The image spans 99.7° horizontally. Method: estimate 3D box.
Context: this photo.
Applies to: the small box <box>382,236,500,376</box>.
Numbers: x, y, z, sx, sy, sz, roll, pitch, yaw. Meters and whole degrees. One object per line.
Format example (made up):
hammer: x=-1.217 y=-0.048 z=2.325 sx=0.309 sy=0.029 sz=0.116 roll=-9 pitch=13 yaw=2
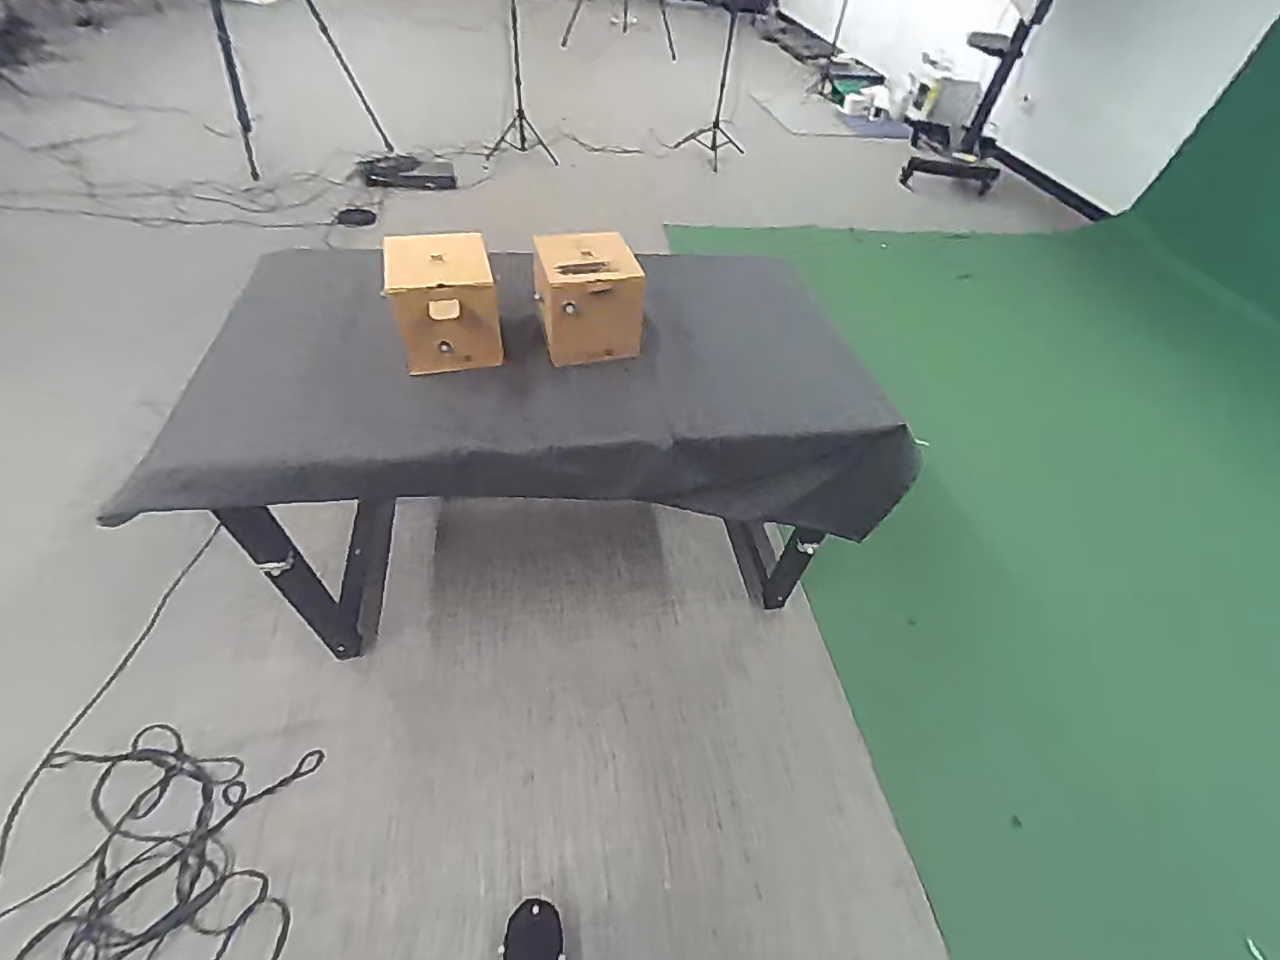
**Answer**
small box: x=-0.349 y=-0.308 z=0.955 sx=0.168 sy=0.176 sz=0.179 roll=-11 pitch=52 yaw=-16
